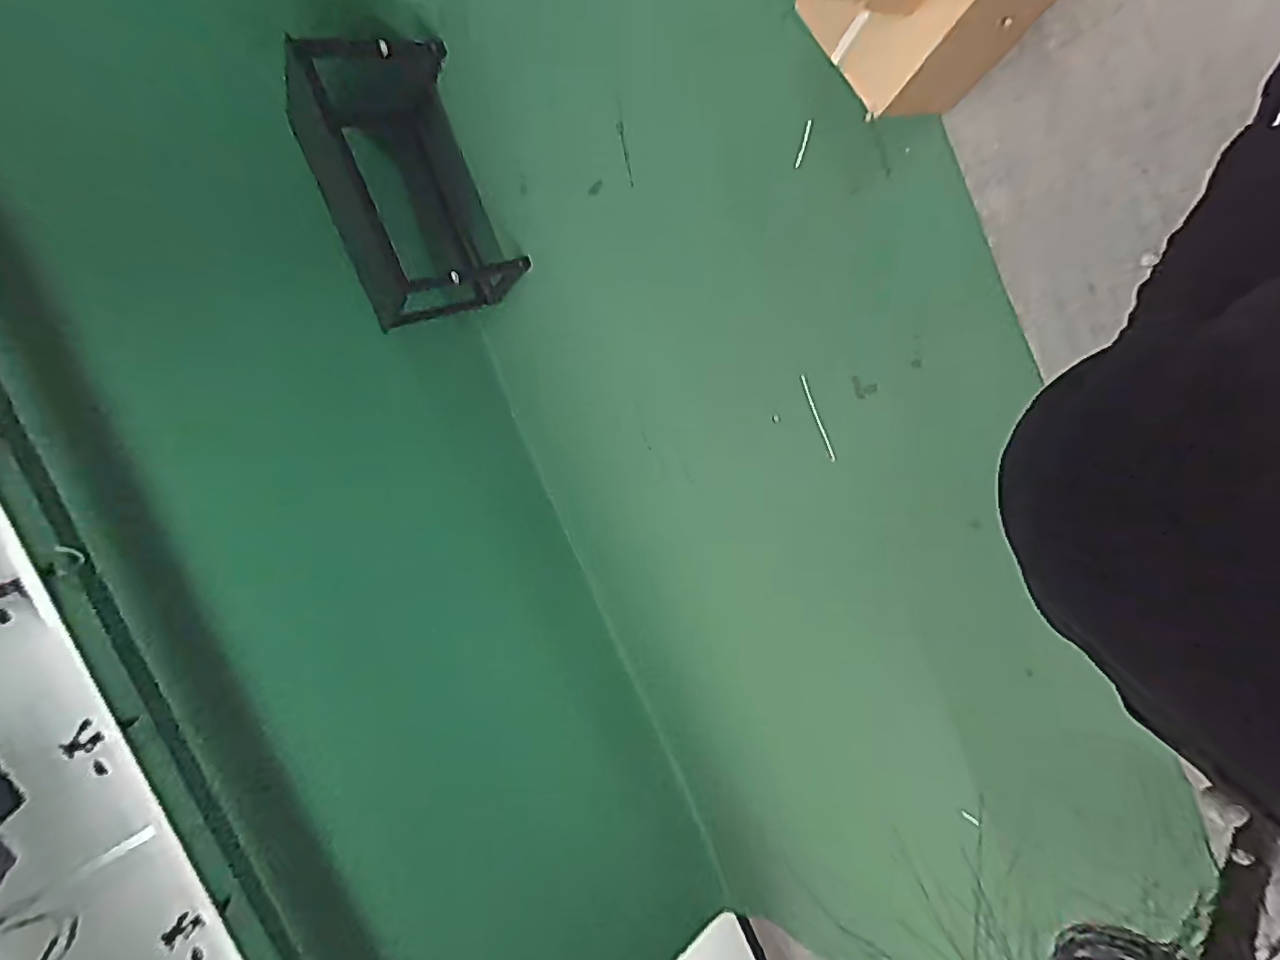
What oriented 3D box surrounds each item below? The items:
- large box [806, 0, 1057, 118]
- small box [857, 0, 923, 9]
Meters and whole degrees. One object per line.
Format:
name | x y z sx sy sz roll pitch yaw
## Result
large box | 0.610 -0.992 1.019 0.320 0.320 0.408 60 151 8
small box | 0.431 -0.909 0.872 0.168 0.176 0.179 60 149 4
